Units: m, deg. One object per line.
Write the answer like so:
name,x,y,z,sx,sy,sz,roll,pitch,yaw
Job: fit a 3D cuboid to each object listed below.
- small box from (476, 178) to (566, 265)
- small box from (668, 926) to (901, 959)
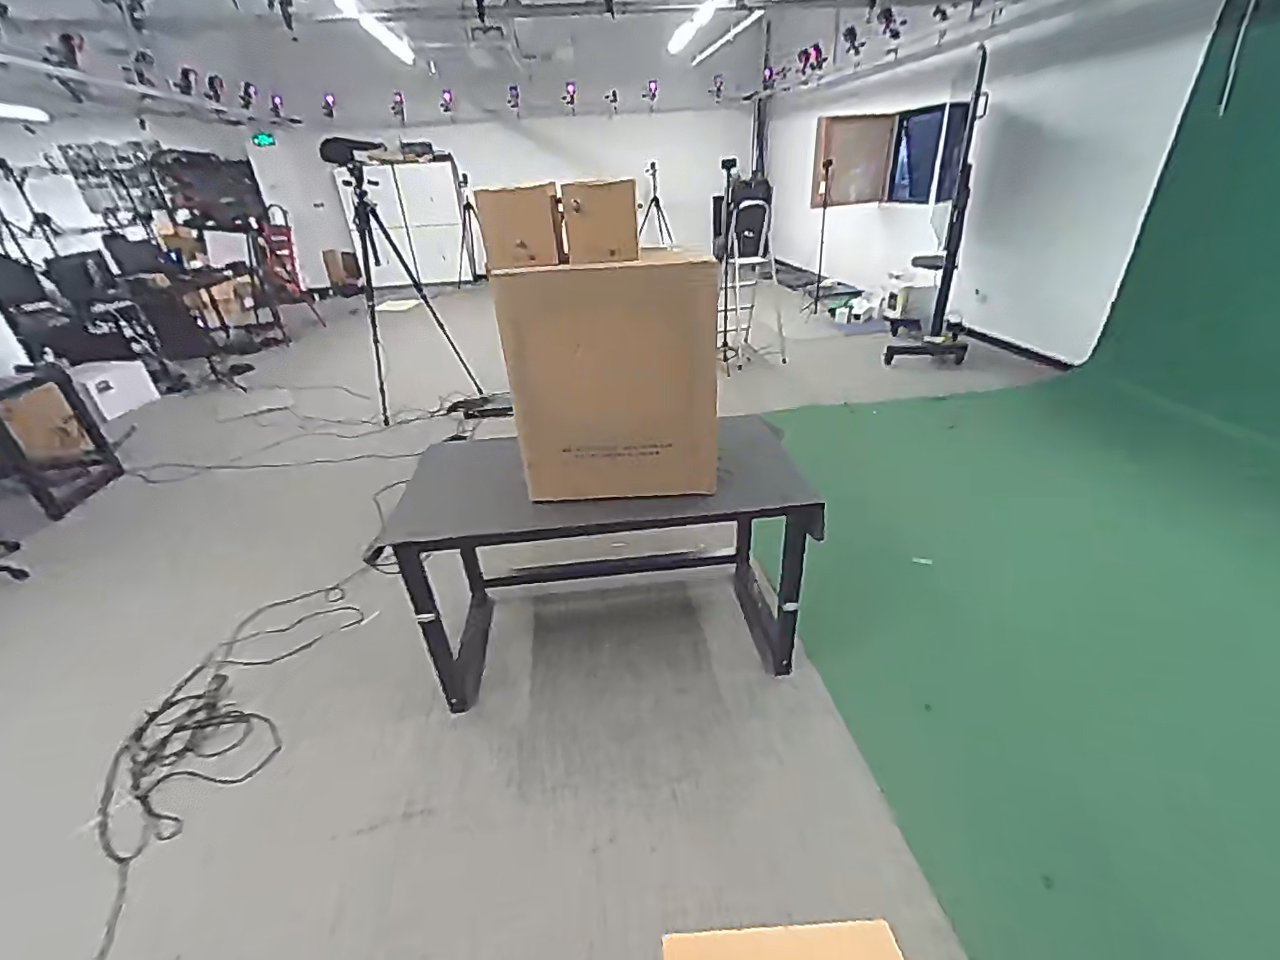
small box,-0.273,-0.614,1.283,0.168,0.176,0.179,-4,32,1
small box,0.101,0.429,0.335,0.168,0.176,0.179,-1,20,-3
